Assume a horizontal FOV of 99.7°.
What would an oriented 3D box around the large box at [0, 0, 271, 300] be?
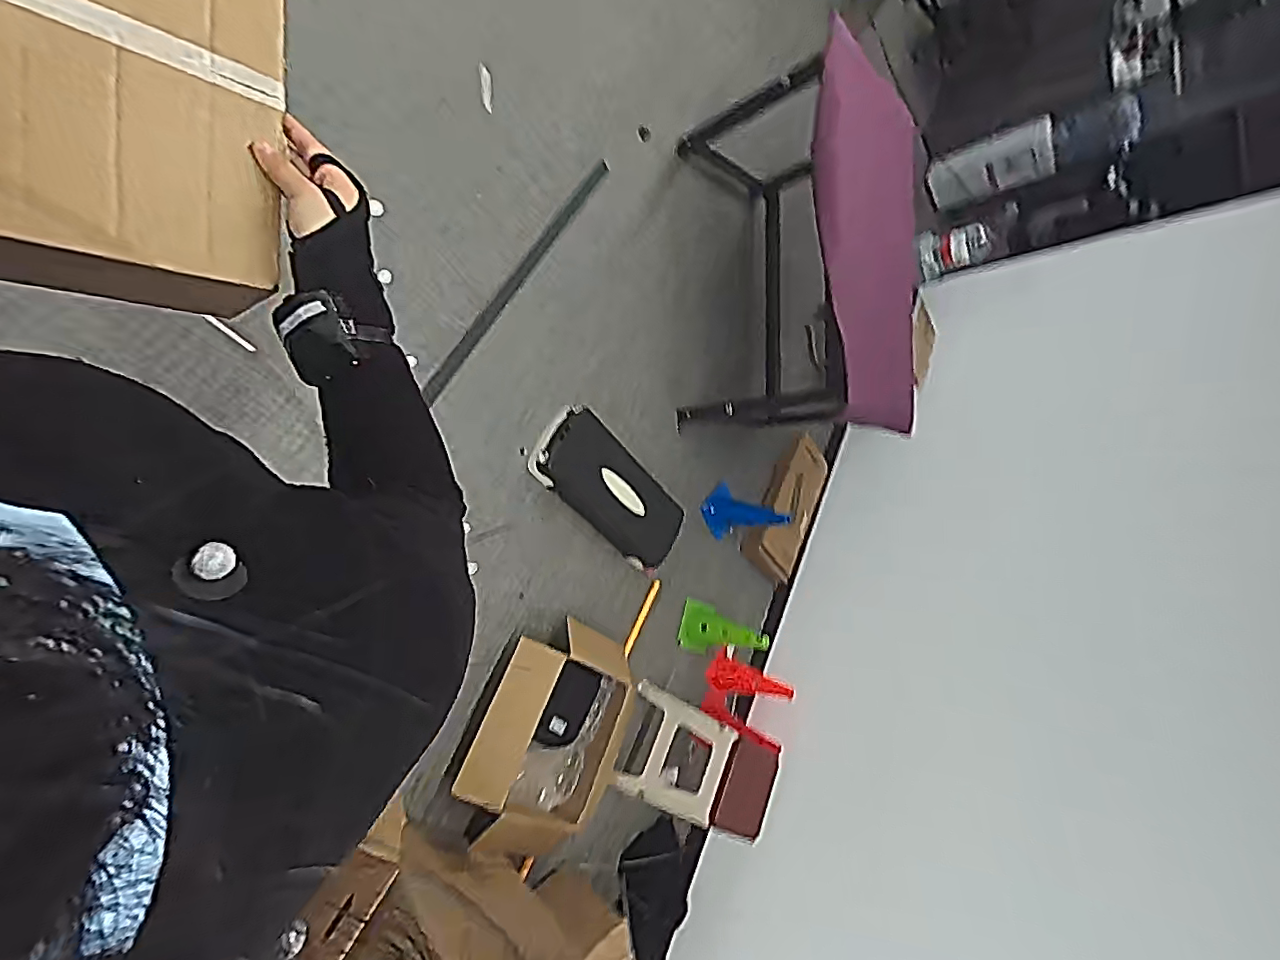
[{"bbox_3d":[-0.561,-0.345,0.431,0.408,0.320,0.320,-2,99,-43],"label":"large box"}]
